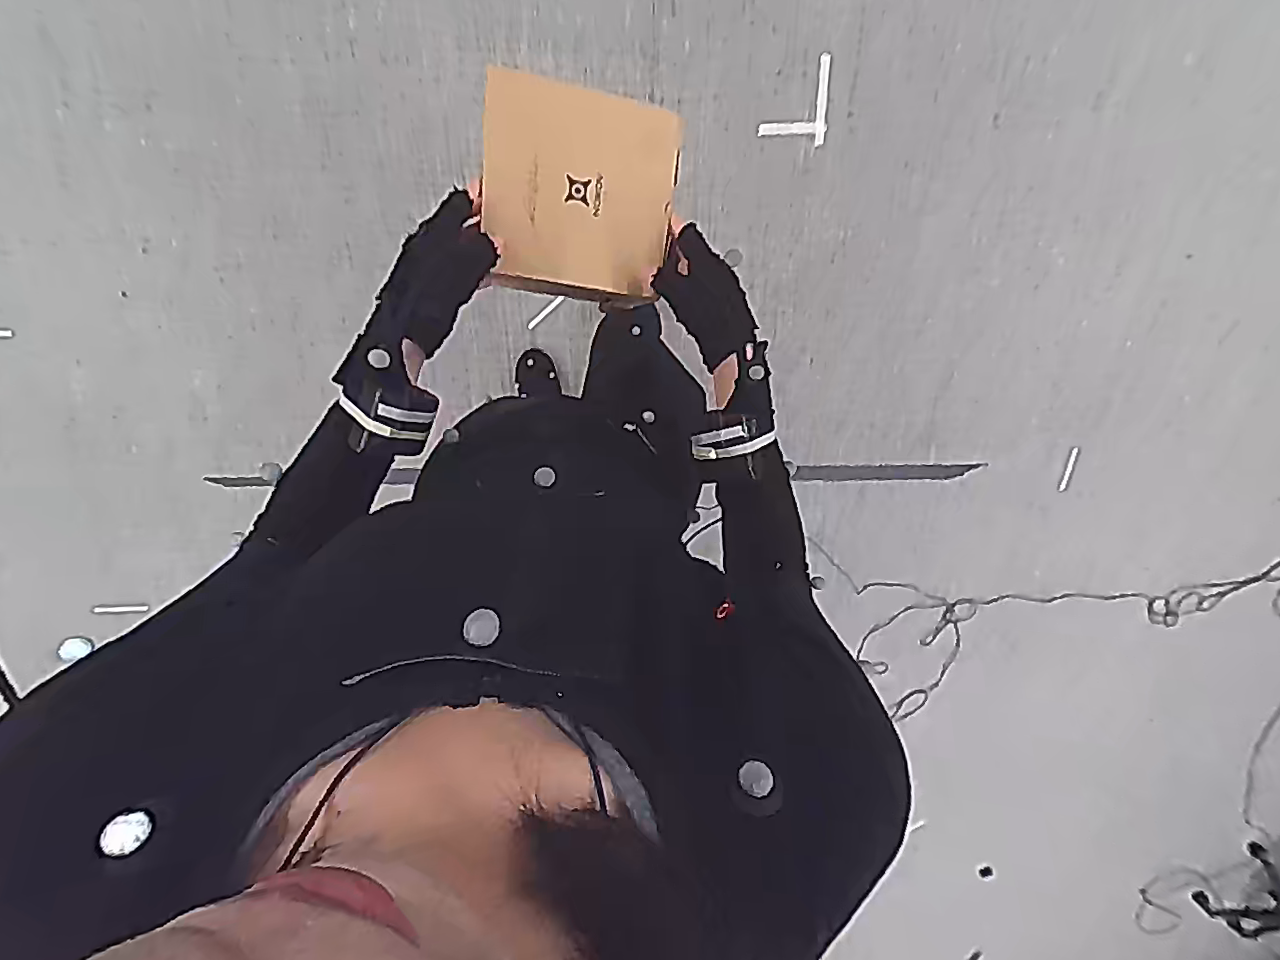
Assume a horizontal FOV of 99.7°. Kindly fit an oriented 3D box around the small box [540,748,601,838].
[{"bbox_3d":[-0.206,0.953,1.653,0.168,0.176,0.179,-5,114,-2],"label":"small box"}]

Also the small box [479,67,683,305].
[{"bbox_3d":[-0.072,-0.284,0.570,0.179,0.176,0.168,4,102,-14],"label":"small box"}]
